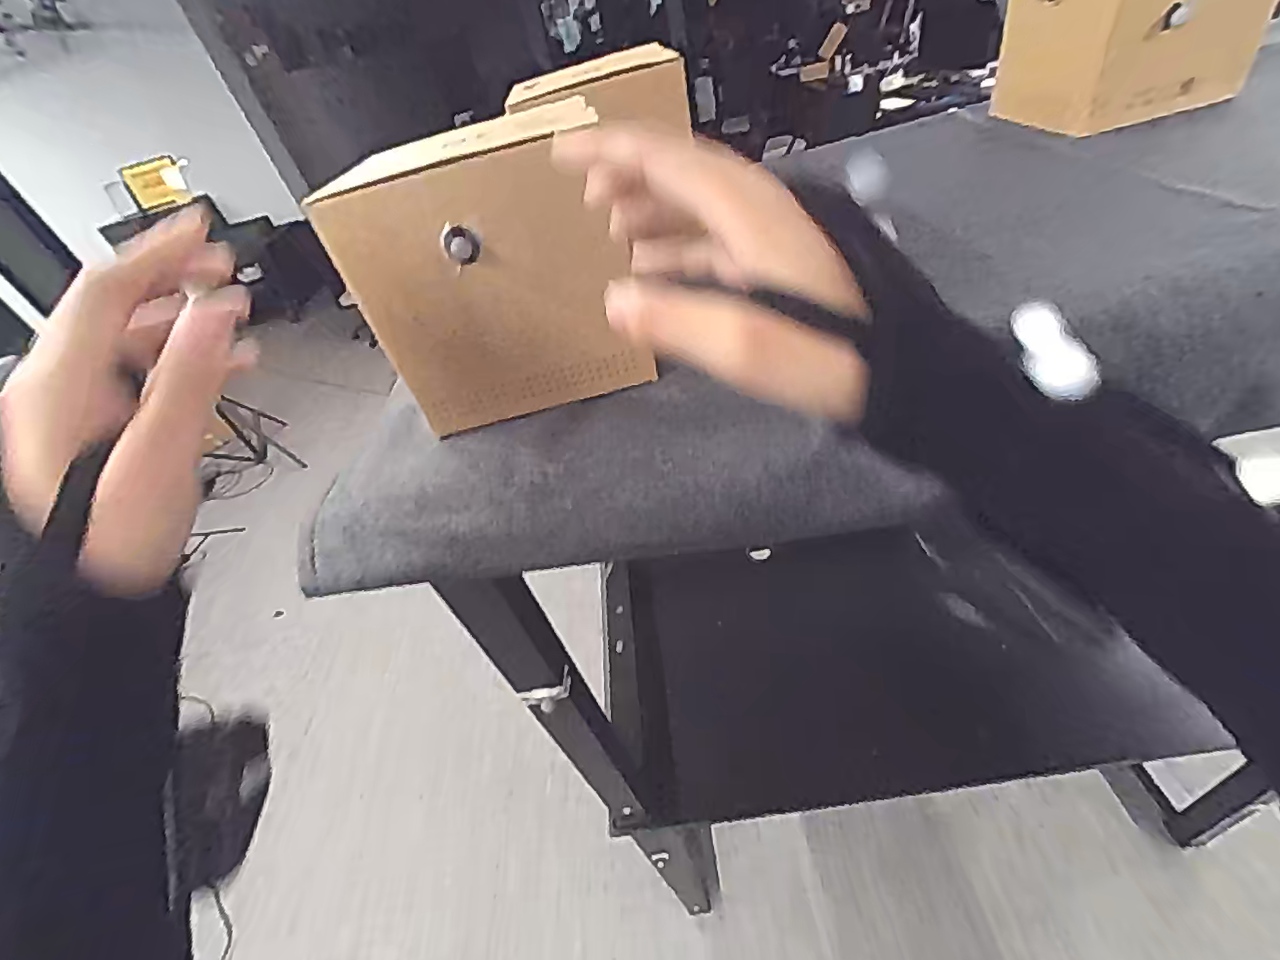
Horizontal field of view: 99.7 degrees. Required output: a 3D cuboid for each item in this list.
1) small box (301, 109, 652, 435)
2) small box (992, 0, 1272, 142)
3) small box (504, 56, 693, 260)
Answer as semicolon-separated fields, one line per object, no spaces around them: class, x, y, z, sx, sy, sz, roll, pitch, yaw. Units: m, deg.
small box;-0.100;-0.155;0.410;0.179;0.176;0.168;-14;40;1
small box;0.522;-0.488;0.584;0.168;0.176;0.179;-13;41;4
small box;-0.039;-0.359;0.623;0.179;0.176;0.168;-13;41;3
